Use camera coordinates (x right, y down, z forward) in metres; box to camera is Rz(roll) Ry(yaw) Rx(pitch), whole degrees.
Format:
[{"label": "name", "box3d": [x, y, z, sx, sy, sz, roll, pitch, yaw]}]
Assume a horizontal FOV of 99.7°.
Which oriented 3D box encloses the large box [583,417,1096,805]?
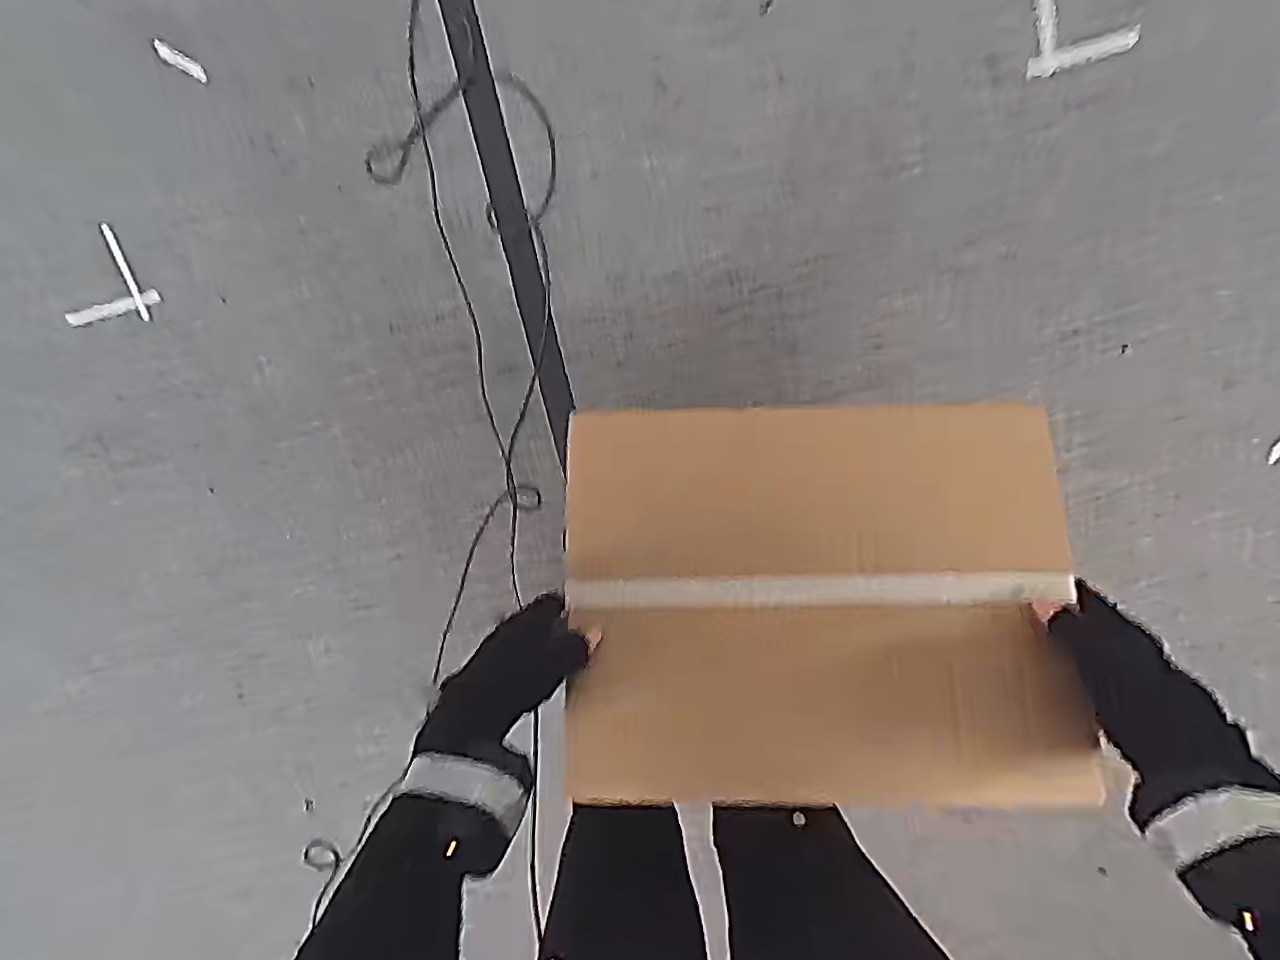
[{"label": "large box", "box3d": [0.155, 0.130, 0.596, 0.408, 0.320, 0.320, -1, 79, 2]}]
